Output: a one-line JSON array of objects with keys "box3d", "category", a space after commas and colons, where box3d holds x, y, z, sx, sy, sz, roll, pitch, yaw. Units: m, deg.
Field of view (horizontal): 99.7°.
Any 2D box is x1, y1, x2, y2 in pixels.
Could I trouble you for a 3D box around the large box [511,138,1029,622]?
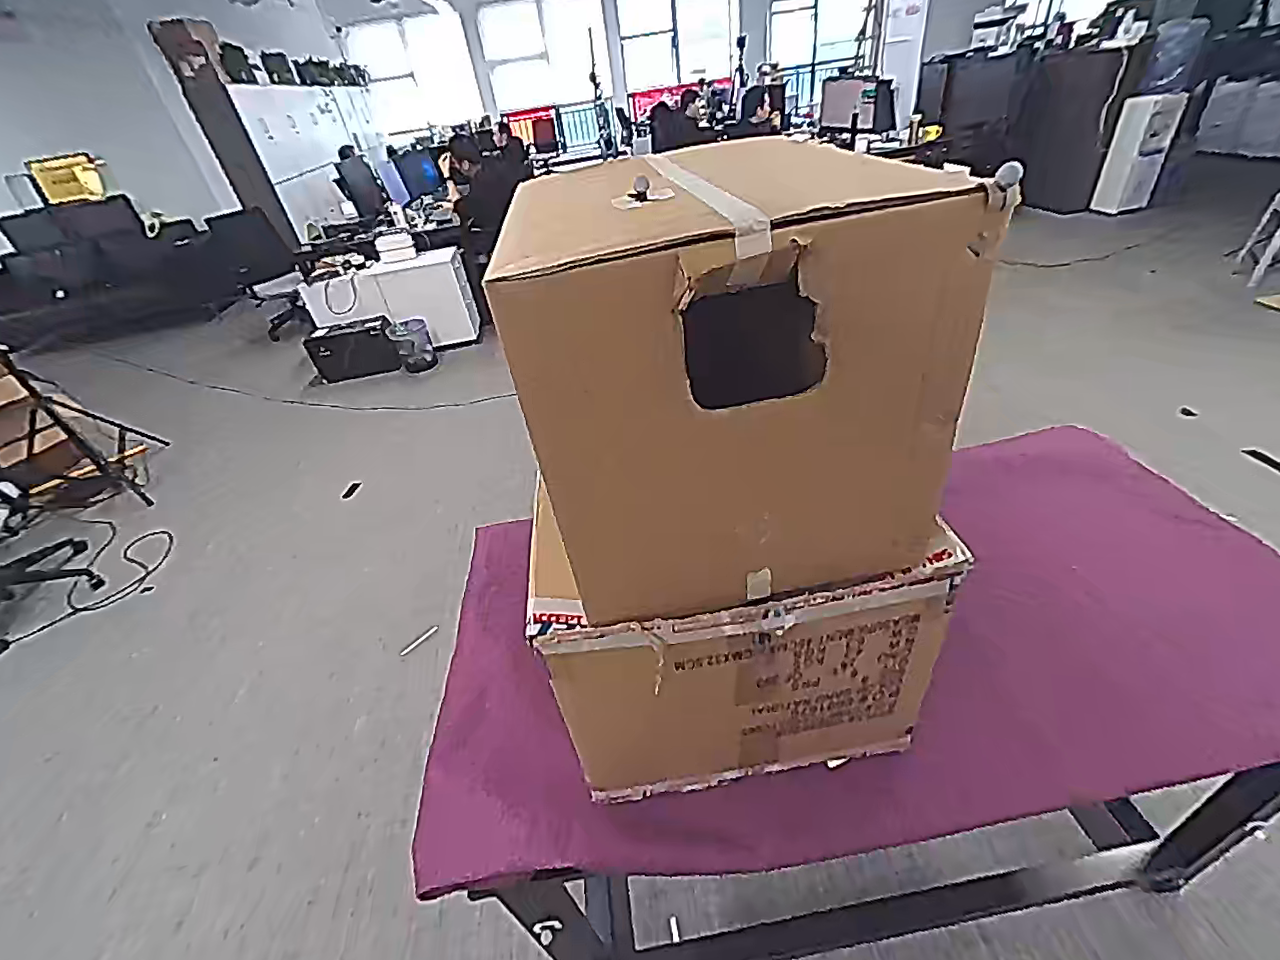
[{"box3d": [0.066, -0.131, 0.552, 0.320, 0.320, 0.408, -12, 37, -1], "category": "large box"}]
